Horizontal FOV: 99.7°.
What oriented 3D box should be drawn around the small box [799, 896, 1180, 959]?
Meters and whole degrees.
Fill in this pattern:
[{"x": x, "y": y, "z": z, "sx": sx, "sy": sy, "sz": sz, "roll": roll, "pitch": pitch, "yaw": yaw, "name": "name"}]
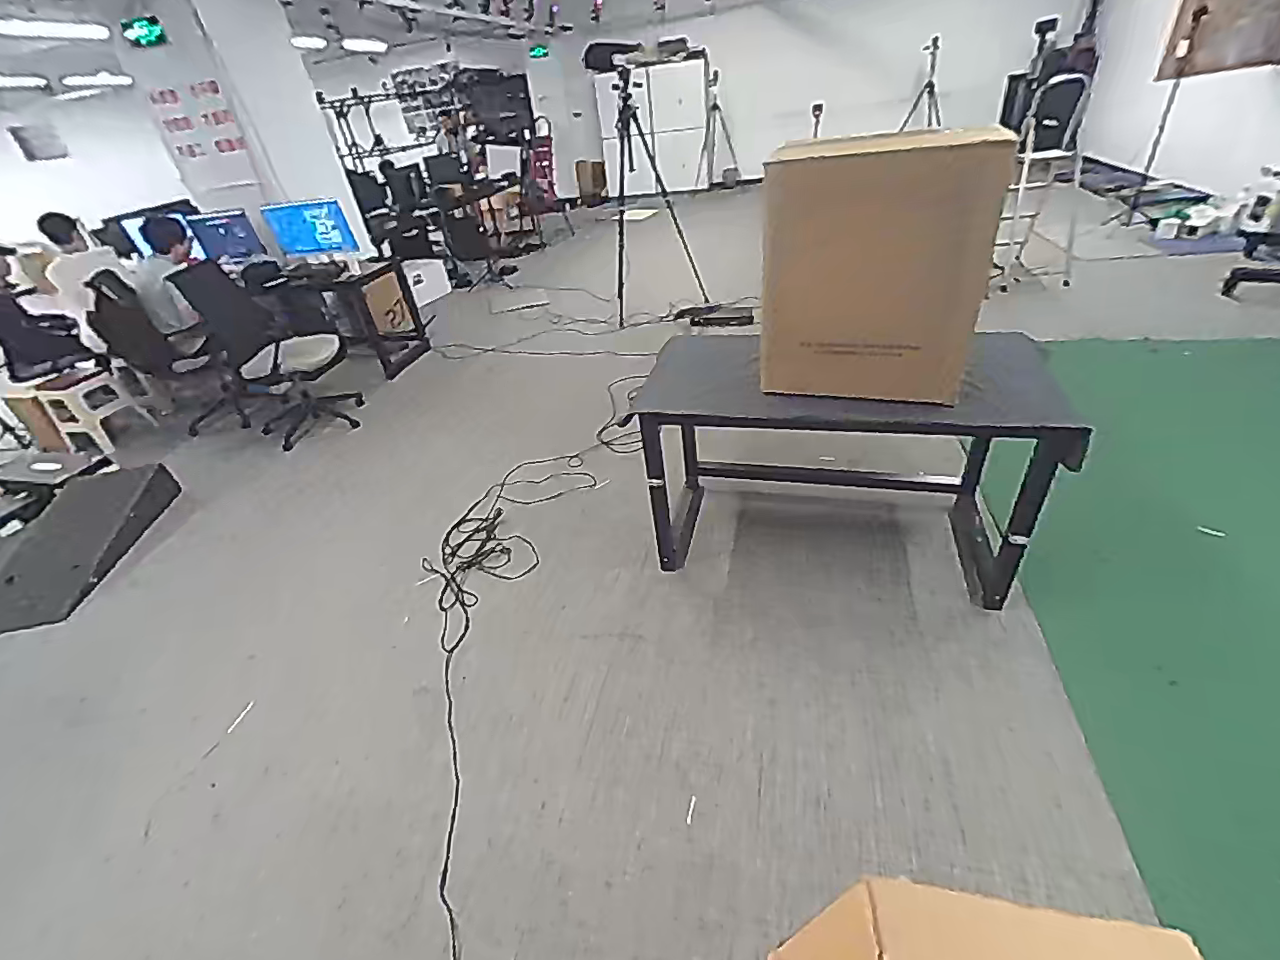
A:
[{"x": 0.178, "y": 0.344, "z": 0.270, "sx": 0.179, "sy": 0.176, "sz": 0.168, "roll": 10, "pitch": 37, "yaw": -1, "name": "small box"}]
